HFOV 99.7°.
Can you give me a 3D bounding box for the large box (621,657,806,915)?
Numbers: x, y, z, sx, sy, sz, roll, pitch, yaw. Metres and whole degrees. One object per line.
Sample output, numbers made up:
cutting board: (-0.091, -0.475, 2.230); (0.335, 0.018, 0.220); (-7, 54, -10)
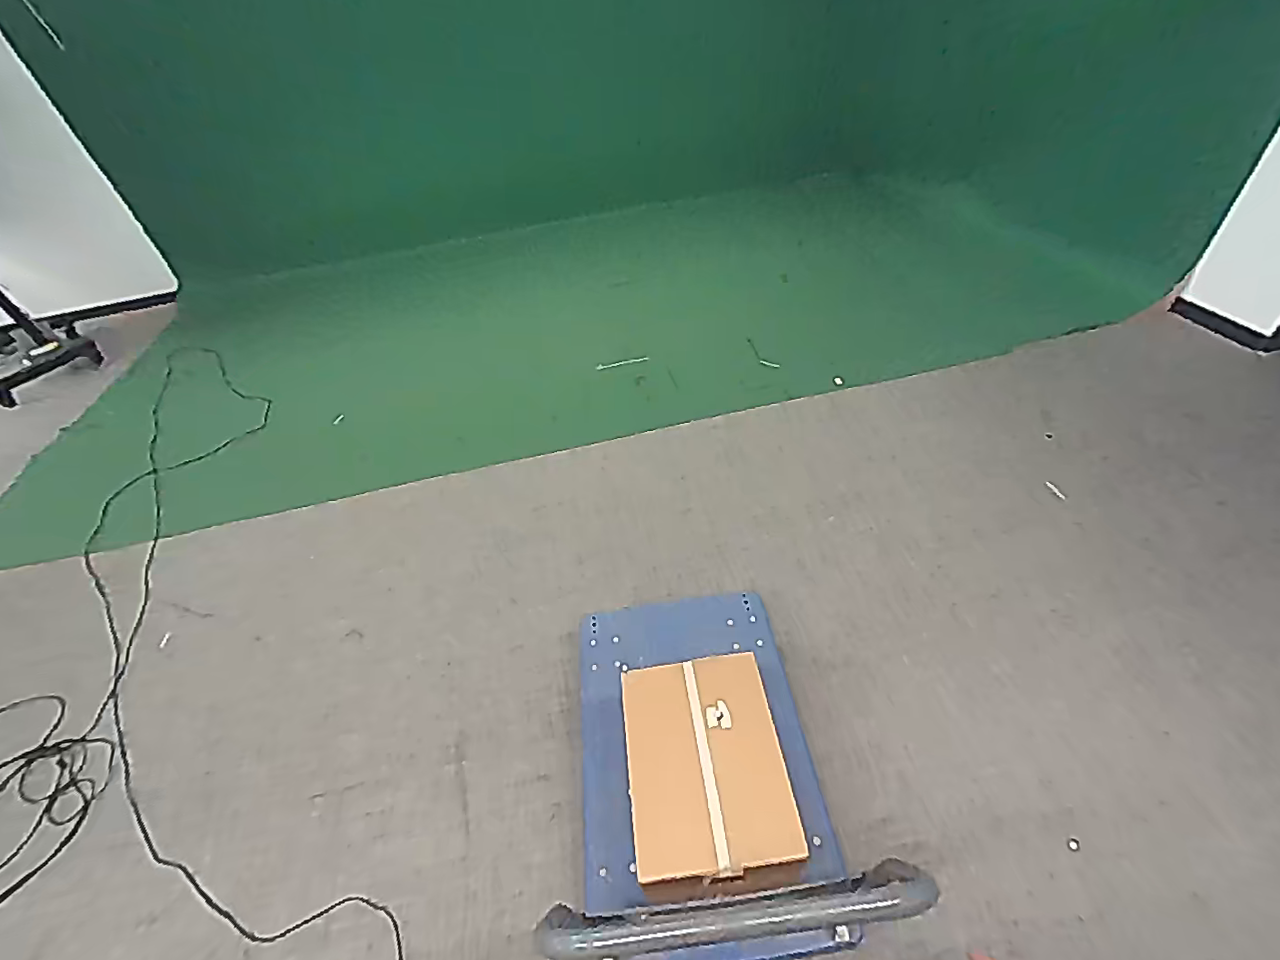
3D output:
large box: (0.147, 0.678, 1.215); (0.320, 0.320, 0.408); (-9, 42, 0)
